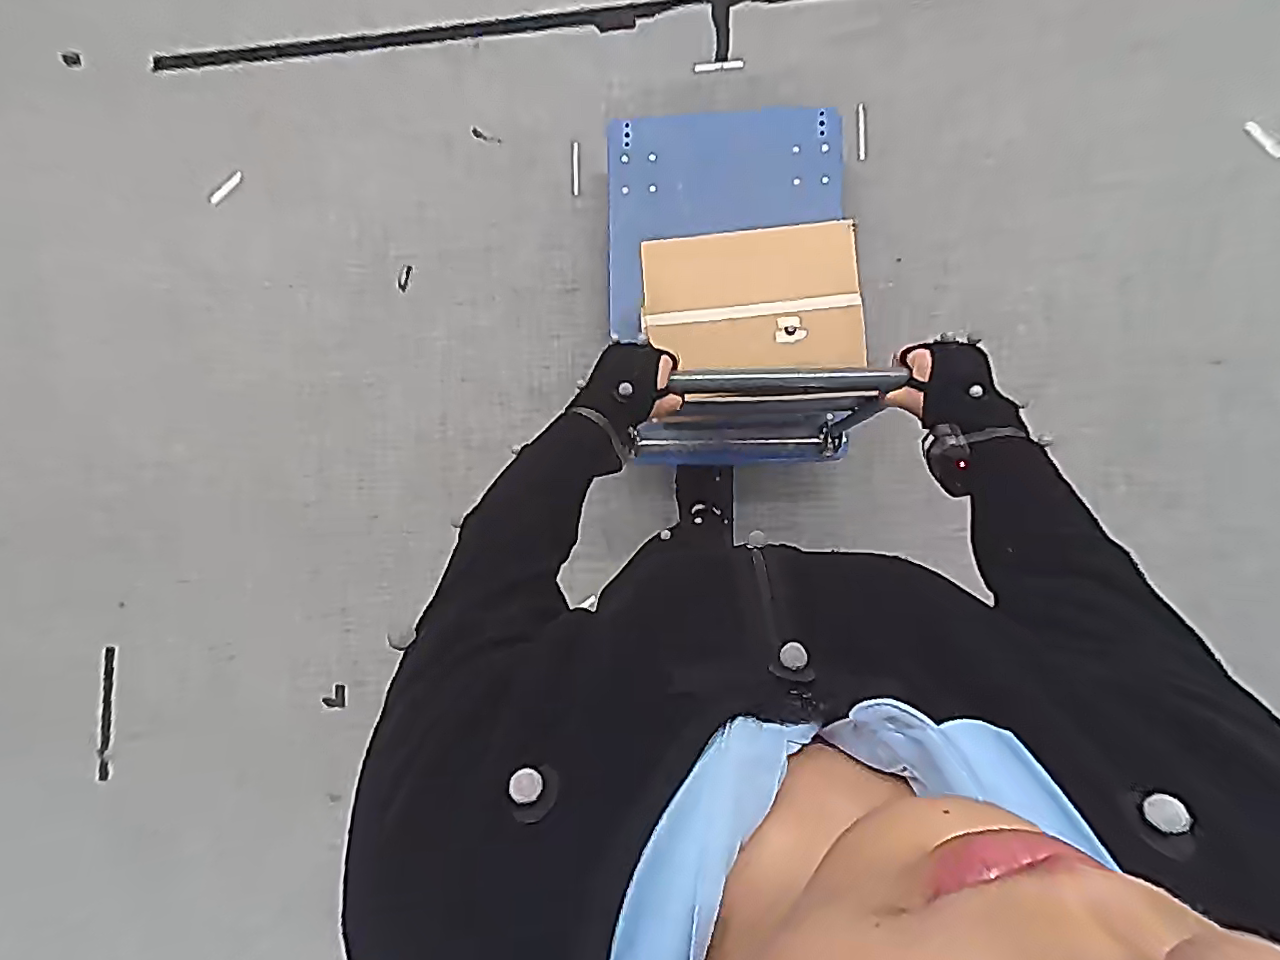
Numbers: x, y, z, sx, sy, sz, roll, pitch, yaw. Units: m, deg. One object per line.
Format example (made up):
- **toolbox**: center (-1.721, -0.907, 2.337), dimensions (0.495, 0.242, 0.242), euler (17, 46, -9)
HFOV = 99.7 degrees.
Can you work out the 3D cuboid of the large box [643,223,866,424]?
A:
- **large box**: center (0.223, -0.314, 1.181), dimensions (0.408, 0.320, 0.320), euler (-5, 88, 3)
